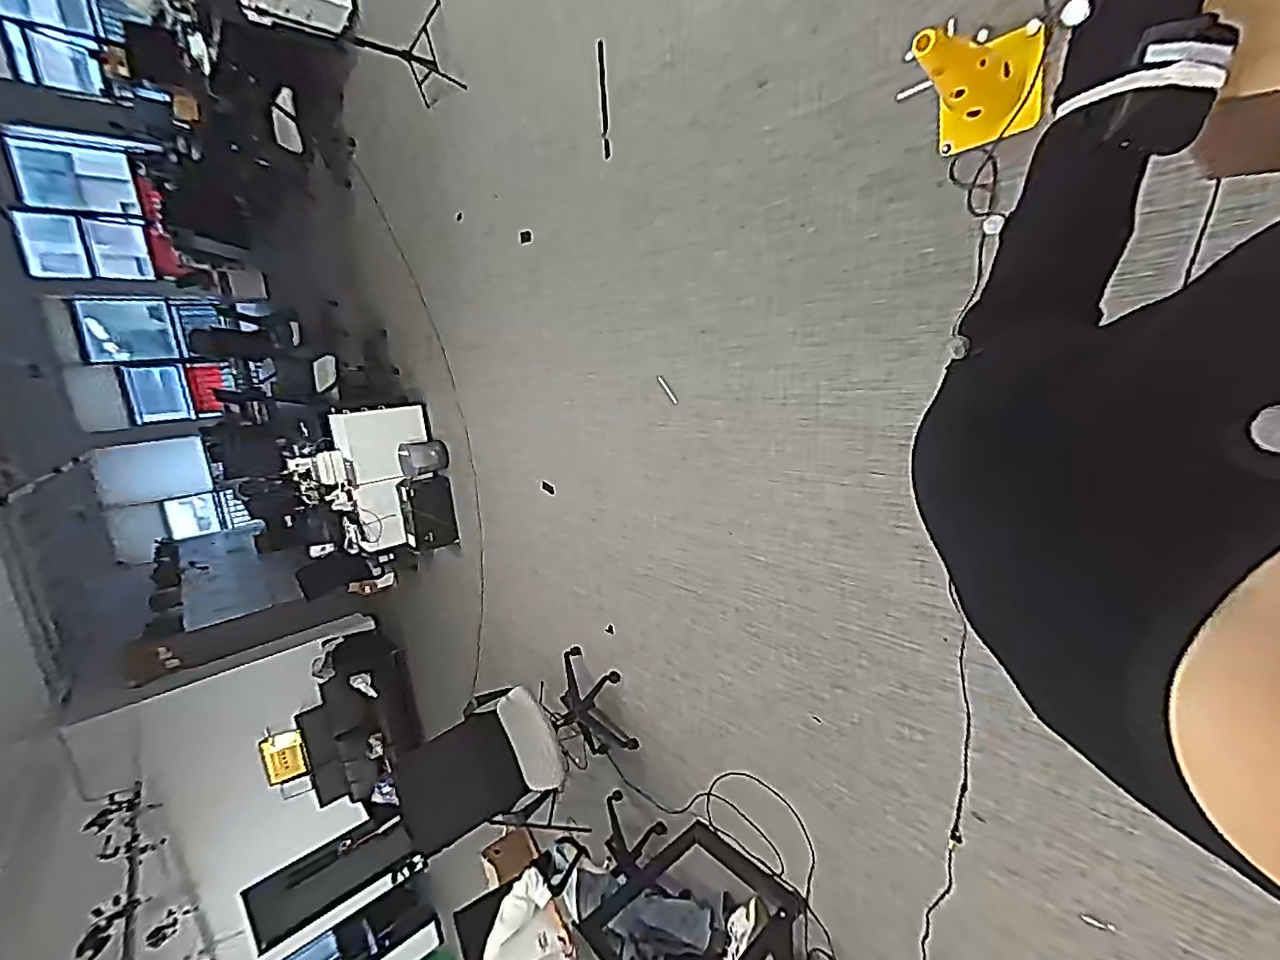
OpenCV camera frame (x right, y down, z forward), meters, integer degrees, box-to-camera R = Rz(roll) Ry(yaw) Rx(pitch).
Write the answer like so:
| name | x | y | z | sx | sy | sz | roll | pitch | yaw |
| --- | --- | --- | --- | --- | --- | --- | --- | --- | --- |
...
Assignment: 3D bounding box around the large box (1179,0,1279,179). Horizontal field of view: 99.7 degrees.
| name | x | y | z | sx | sy | sz | roll | pitch | yaw |
| --- | --- | --- | --- | --- | --- | --- | --- | --- | --- |
| large box | 0.603 | -0.386 | 0.281 | 0.408 | 0.320 | 0.320 | 18 | 115 | 44 |
